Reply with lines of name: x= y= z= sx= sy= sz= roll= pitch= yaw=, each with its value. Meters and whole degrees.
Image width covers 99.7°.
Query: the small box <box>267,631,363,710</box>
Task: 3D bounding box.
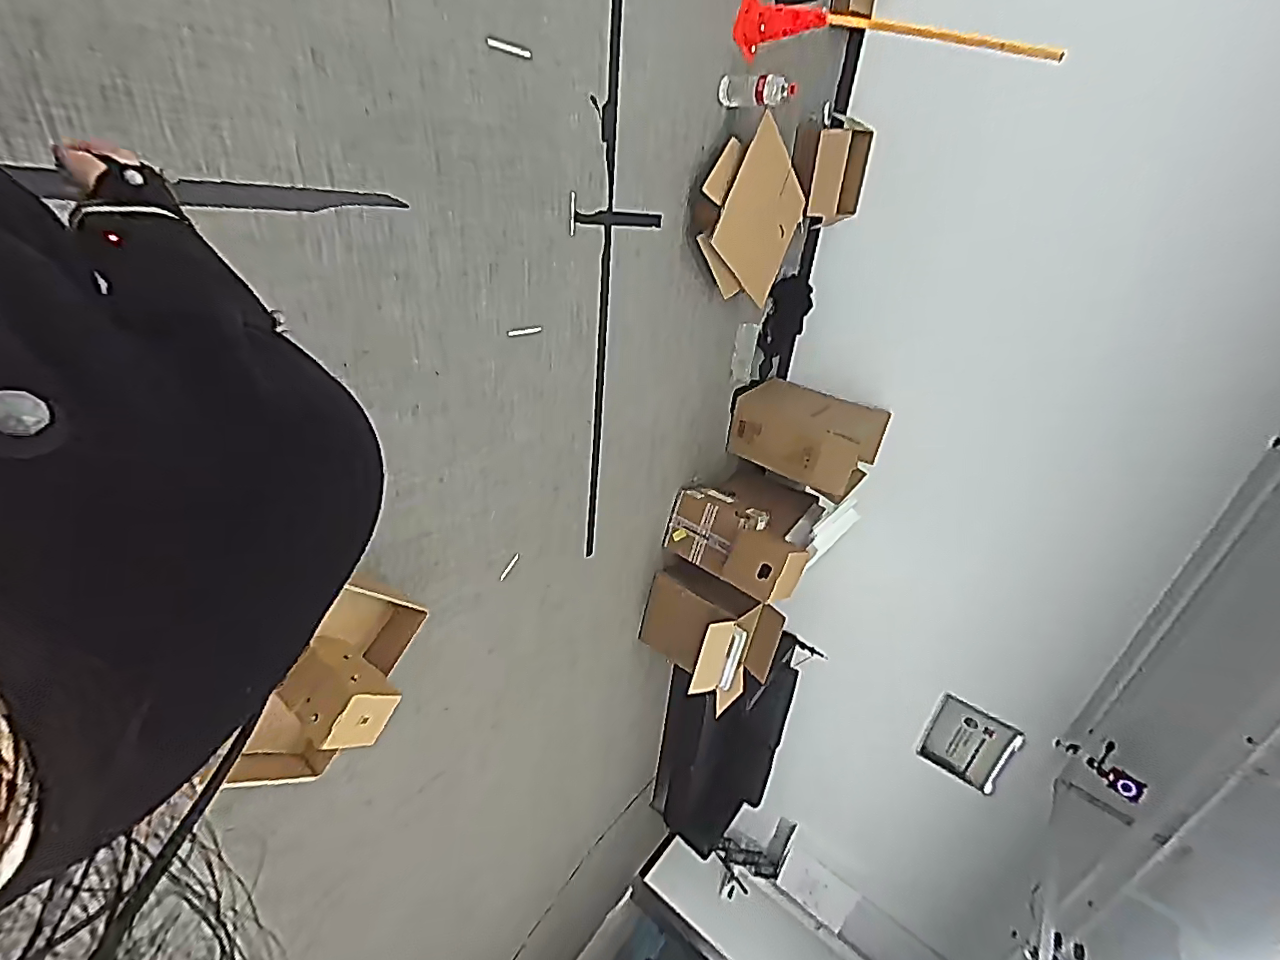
small box: x=-0.980 y=0.582 z=1.647 sx=0.168 sy=0.176 sz=0.179 roll=-59 pitch=148 yaw=-10

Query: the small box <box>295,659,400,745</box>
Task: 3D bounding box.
small box: x=-0.850 y=0.638 z=1.568 sx=0.168 sy=0.176 sz=0.179 roll=-60 pitch=150 yaw=-6
